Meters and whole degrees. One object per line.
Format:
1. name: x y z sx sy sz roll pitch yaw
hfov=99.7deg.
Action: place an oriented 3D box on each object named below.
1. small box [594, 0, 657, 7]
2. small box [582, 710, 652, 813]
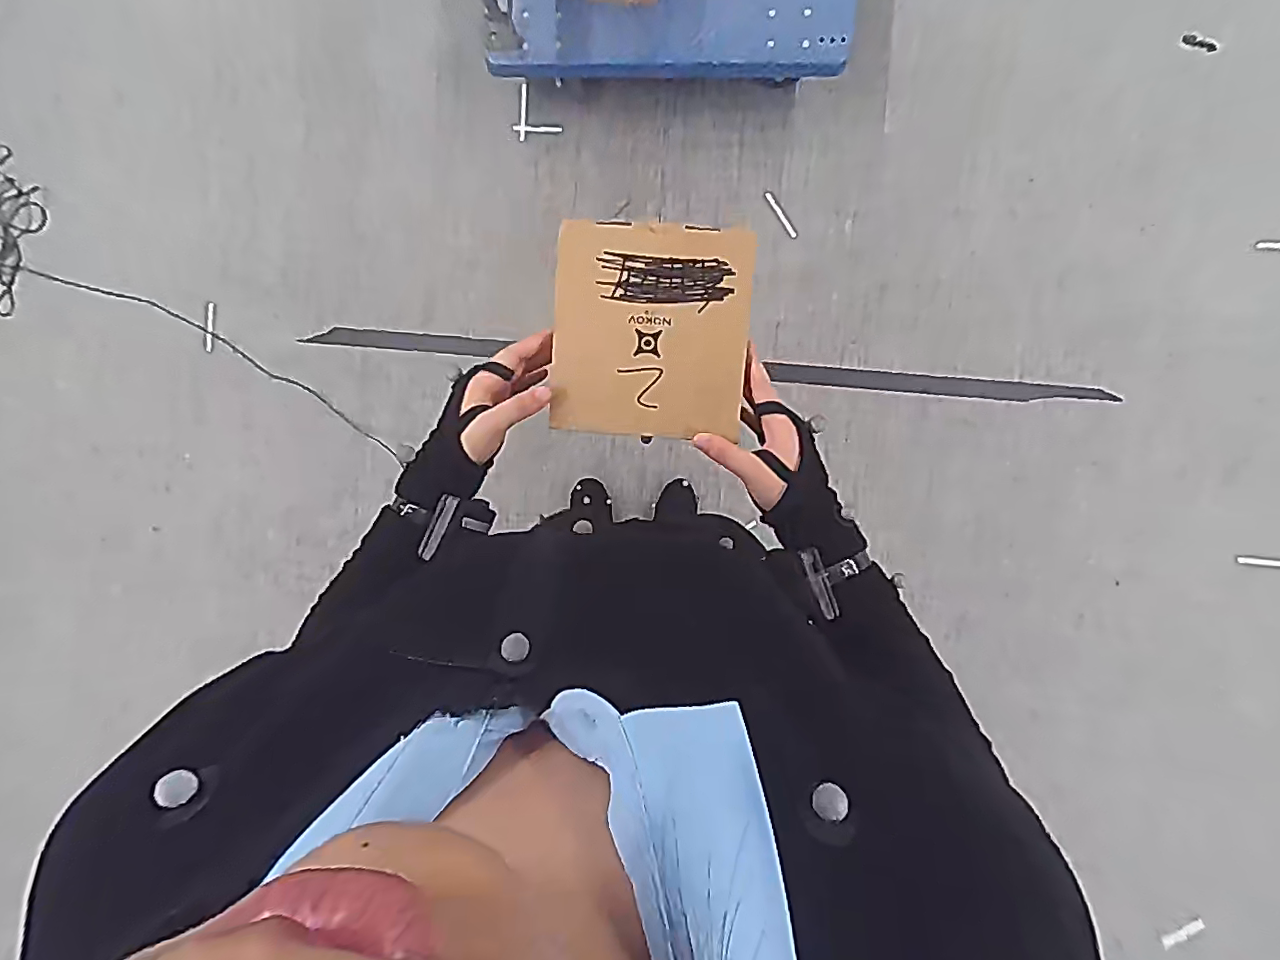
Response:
1. small box: -0.036 -1.197 1.179 0.168 0.176 0.179 7 93 4
2. small box: -0.056 0.740 1.433 0.168 0.176 0.179 3 91 3
